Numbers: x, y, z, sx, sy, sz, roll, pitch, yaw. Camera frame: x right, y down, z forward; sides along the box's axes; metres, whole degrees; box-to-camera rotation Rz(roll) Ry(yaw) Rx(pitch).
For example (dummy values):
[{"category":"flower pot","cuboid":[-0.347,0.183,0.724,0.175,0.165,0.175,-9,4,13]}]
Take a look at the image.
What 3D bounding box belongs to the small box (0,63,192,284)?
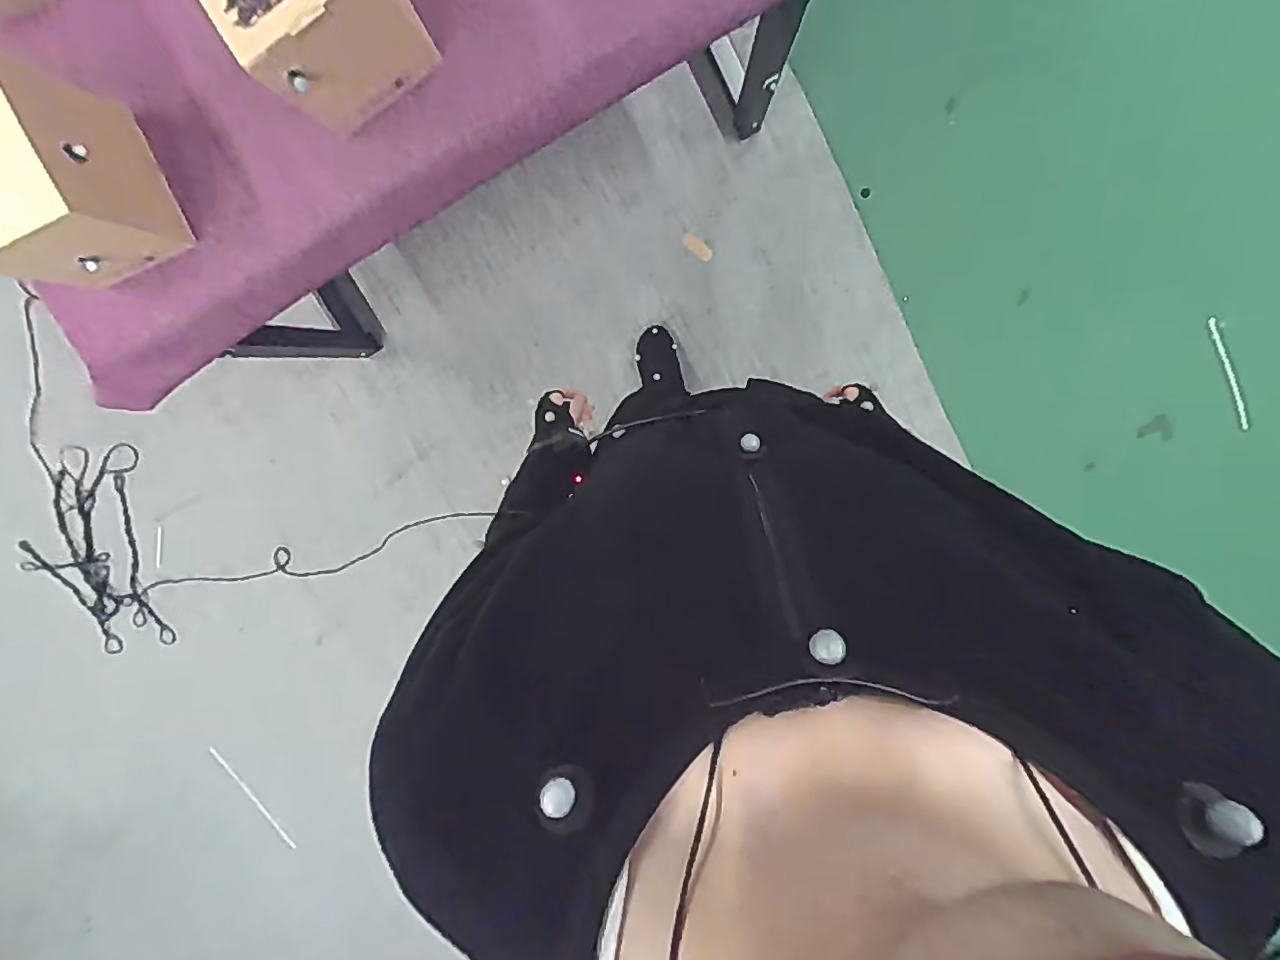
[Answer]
[{"category":"small box","cuboid":[-0.707,-0.350,0.651,0.168,0.176,0.179,-20,101,6]}]
